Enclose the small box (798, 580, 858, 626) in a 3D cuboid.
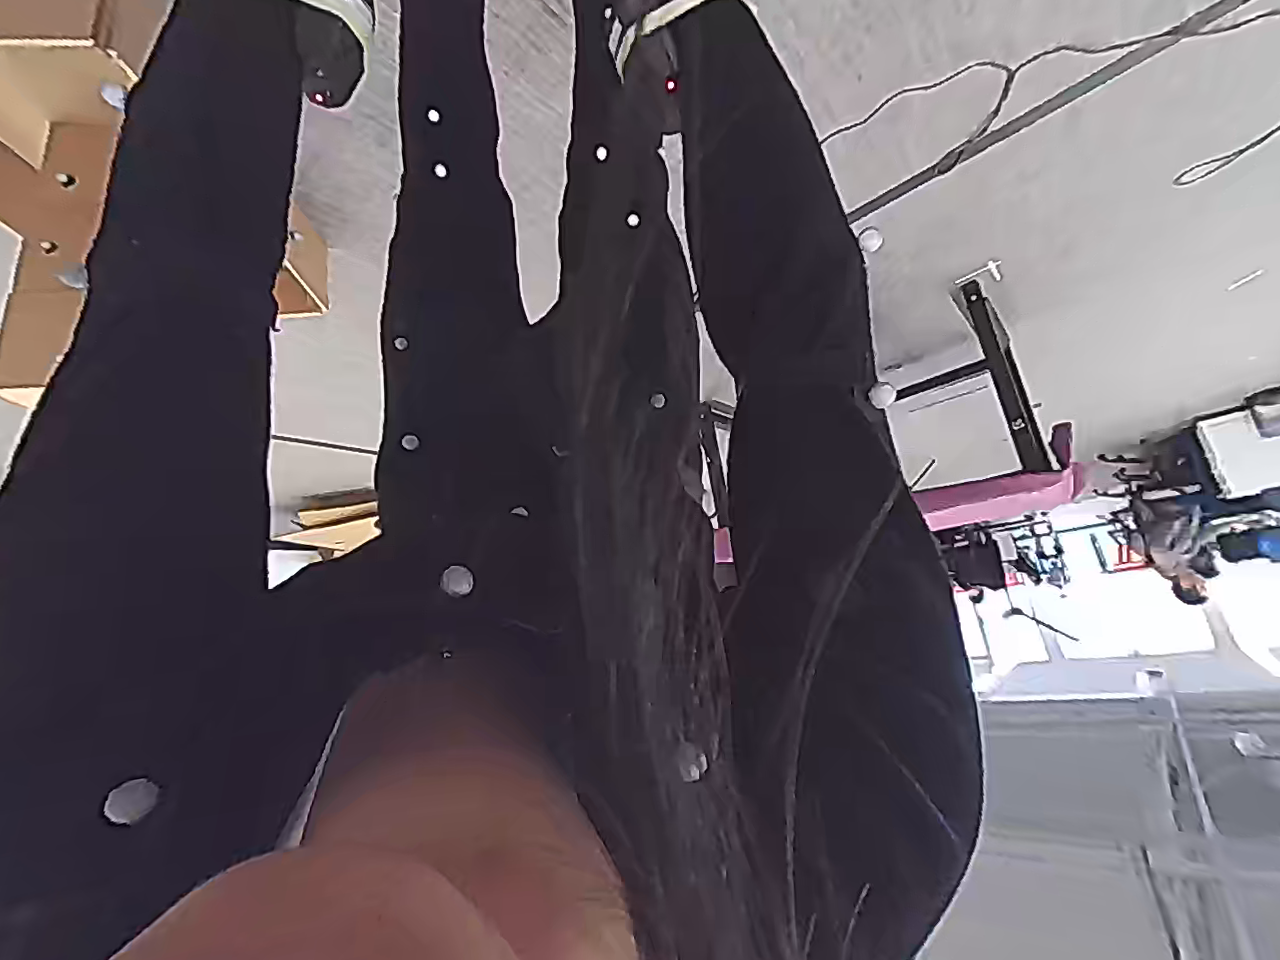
[{"bbox_3d":[0.785,0.516,2.275,0.168,0.176,0.179,7,158,-44],"label":"small box"}]
